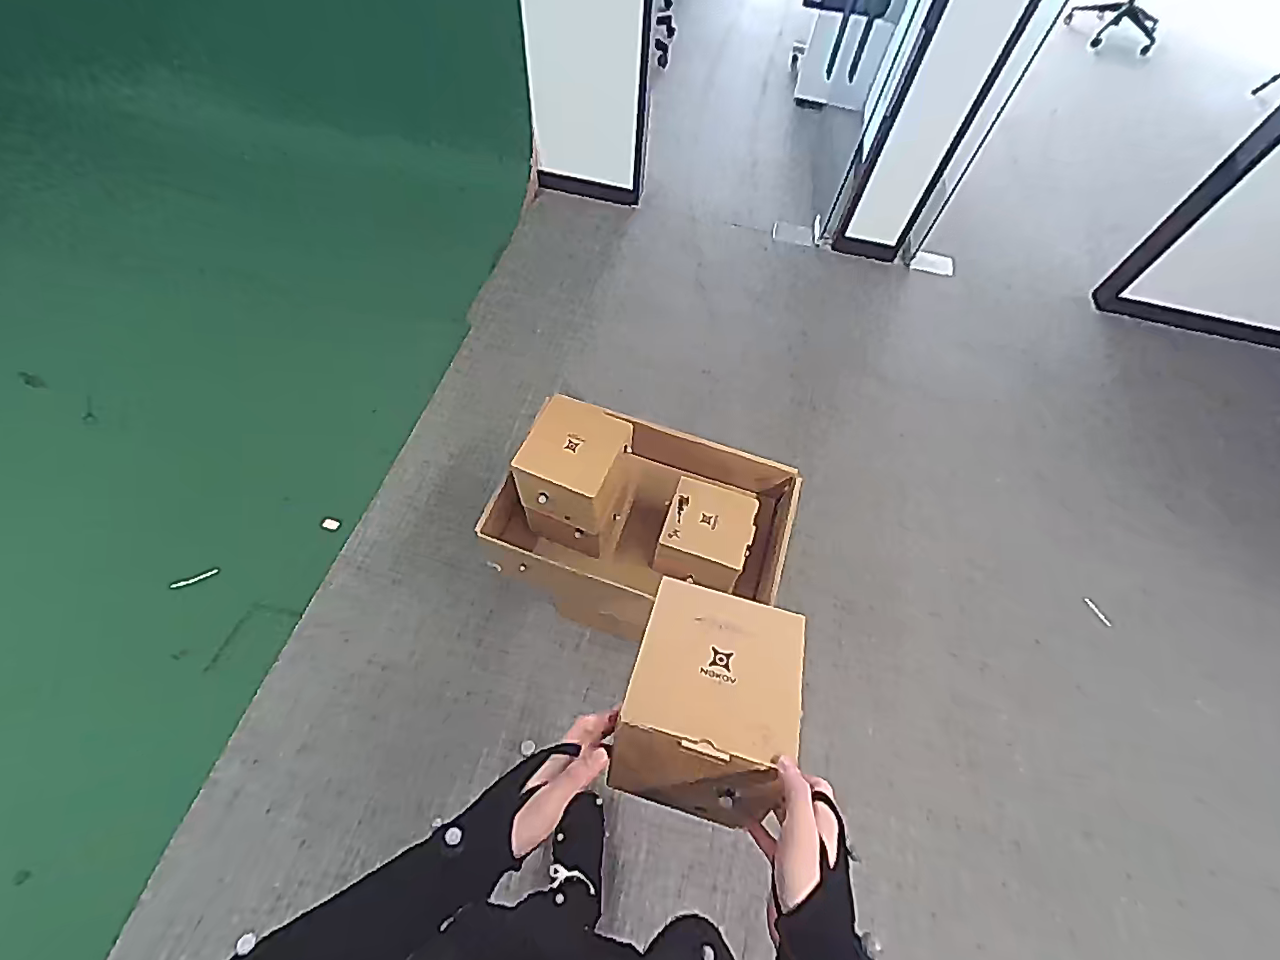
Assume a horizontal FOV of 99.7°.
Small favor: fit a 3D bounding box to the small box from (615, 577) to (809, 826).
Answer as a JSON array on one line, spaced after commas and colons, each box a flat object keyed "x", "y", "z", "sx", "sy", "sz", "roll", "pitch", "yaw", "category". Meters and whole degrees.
[{"x": 0.075, "y": 0.244, "z": 0.596, "sx": 0.168, "sy": 0.176, "sz": 0.179, "roll": 16, "pitch": 42, "yaw": 8, "category": "small box"}]

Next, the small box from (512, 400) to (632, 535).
[{"x": -0.124, "y": -0.018, "z": 1.050, "sx": 0.168, "sy": 0.176, "sz": 0.179, "roll": 21, "pitch": 61, "yaw": 8, "category": "small box"}]
